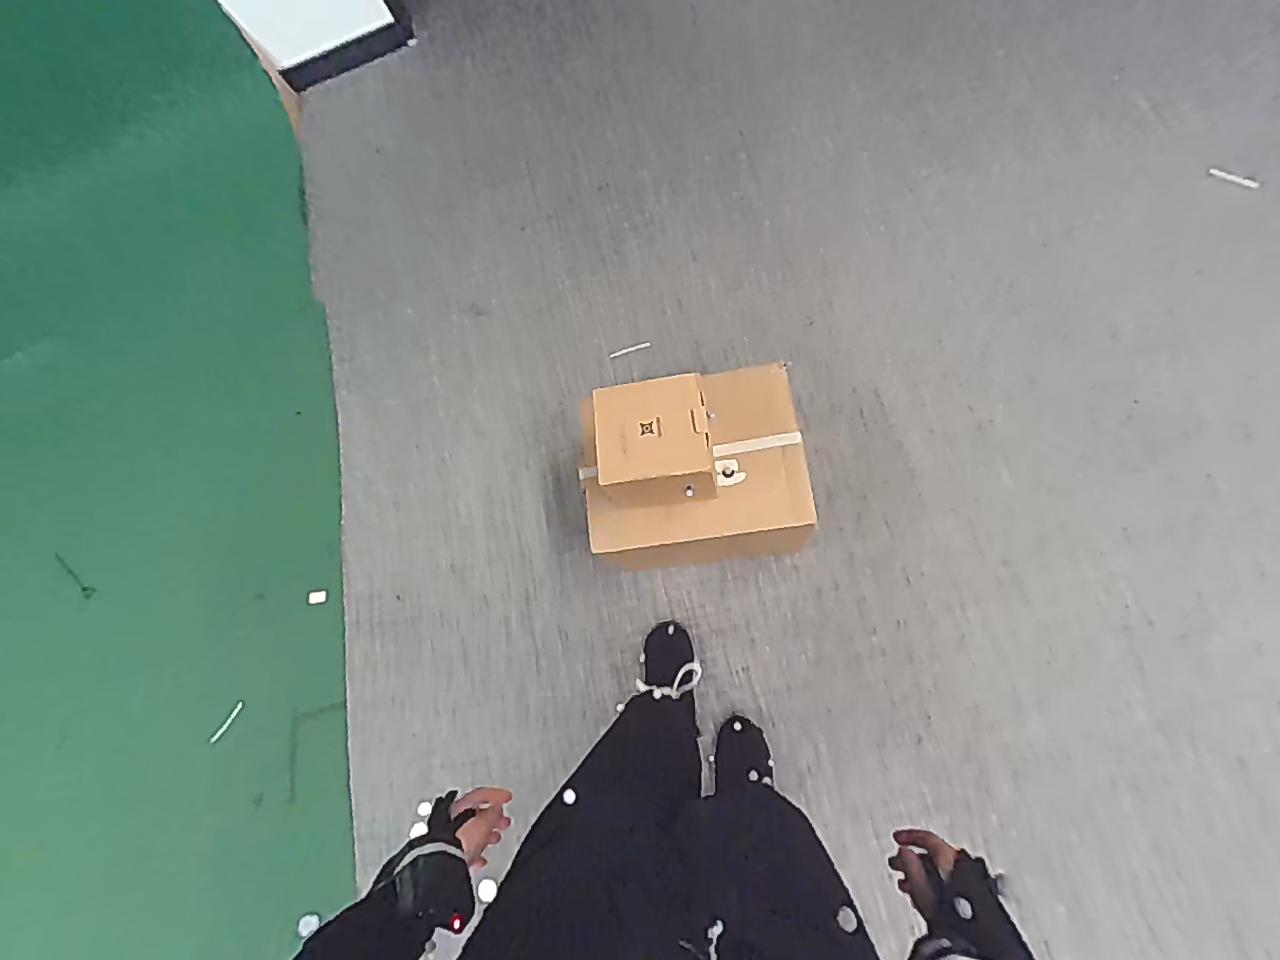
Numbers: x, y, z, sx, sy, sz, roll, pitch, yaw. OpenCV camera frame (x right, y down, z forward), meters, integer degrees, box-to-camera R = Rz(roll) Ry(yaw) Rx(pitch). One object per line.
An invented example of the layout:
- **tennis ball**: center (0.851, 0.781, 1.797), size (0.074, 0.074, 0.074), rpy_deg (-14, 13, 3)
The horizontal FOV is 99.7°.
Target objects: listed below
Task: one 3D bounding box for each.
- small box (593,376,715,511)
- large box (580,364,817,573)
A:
- **small box**: center (0.030, -0.052, 0.907), size (0.179, 0.176, 0.168), rpy_deg (-9, 71, 10)
- **large box**: center (0.117, 0.000, 1.132), size (0.408, 0.320, 0.320), rpy_deg (-9, 74, 8)
